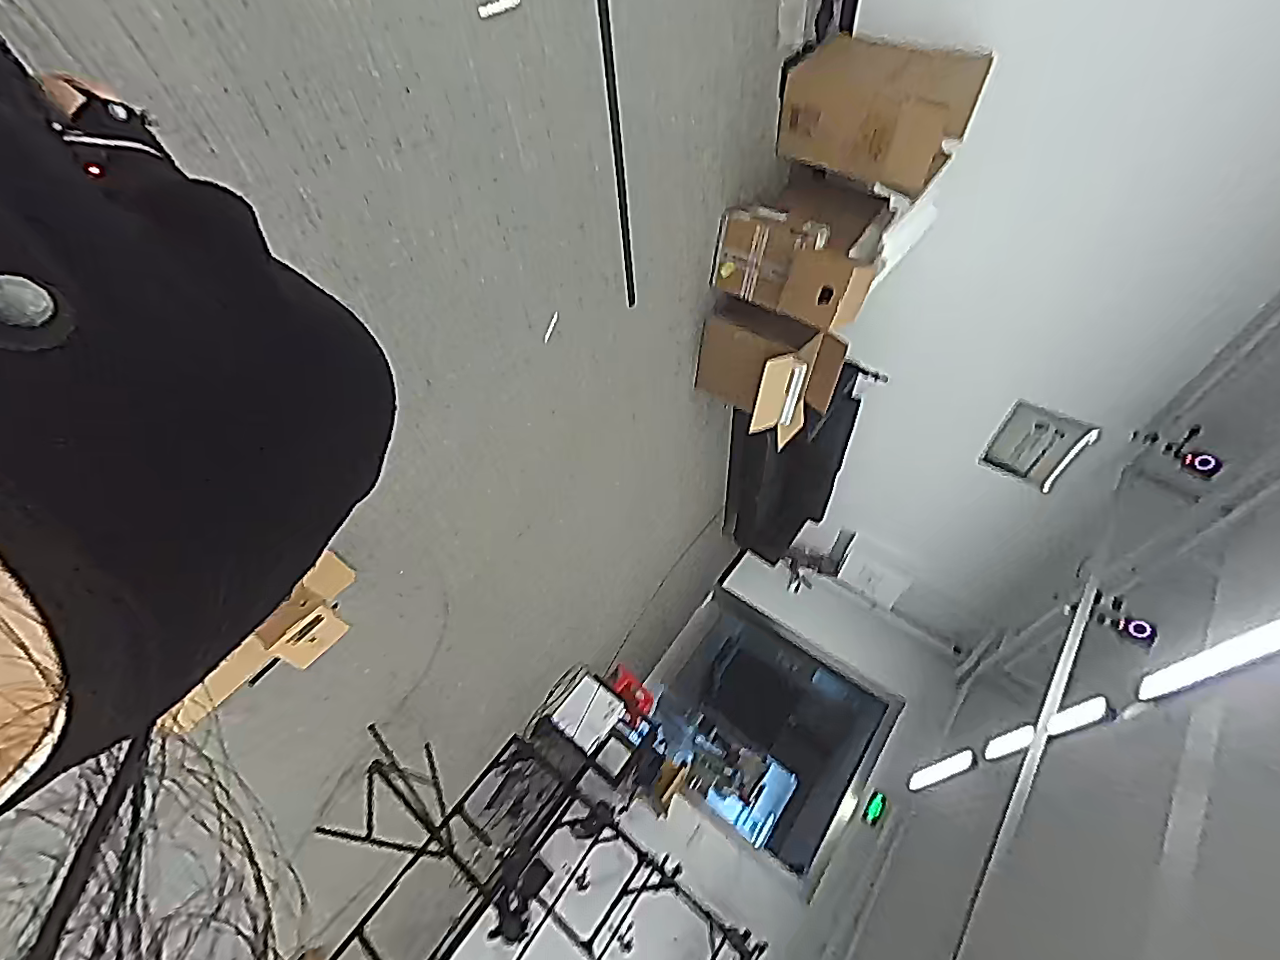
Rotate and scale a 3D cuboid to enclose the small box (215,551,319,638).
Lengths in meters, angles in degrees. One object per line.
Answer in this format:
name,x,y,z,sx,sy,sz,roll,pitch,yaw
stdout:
small box,-1.133,0.340,1.643,0.168,0.176,0.179,-45,152,-27
